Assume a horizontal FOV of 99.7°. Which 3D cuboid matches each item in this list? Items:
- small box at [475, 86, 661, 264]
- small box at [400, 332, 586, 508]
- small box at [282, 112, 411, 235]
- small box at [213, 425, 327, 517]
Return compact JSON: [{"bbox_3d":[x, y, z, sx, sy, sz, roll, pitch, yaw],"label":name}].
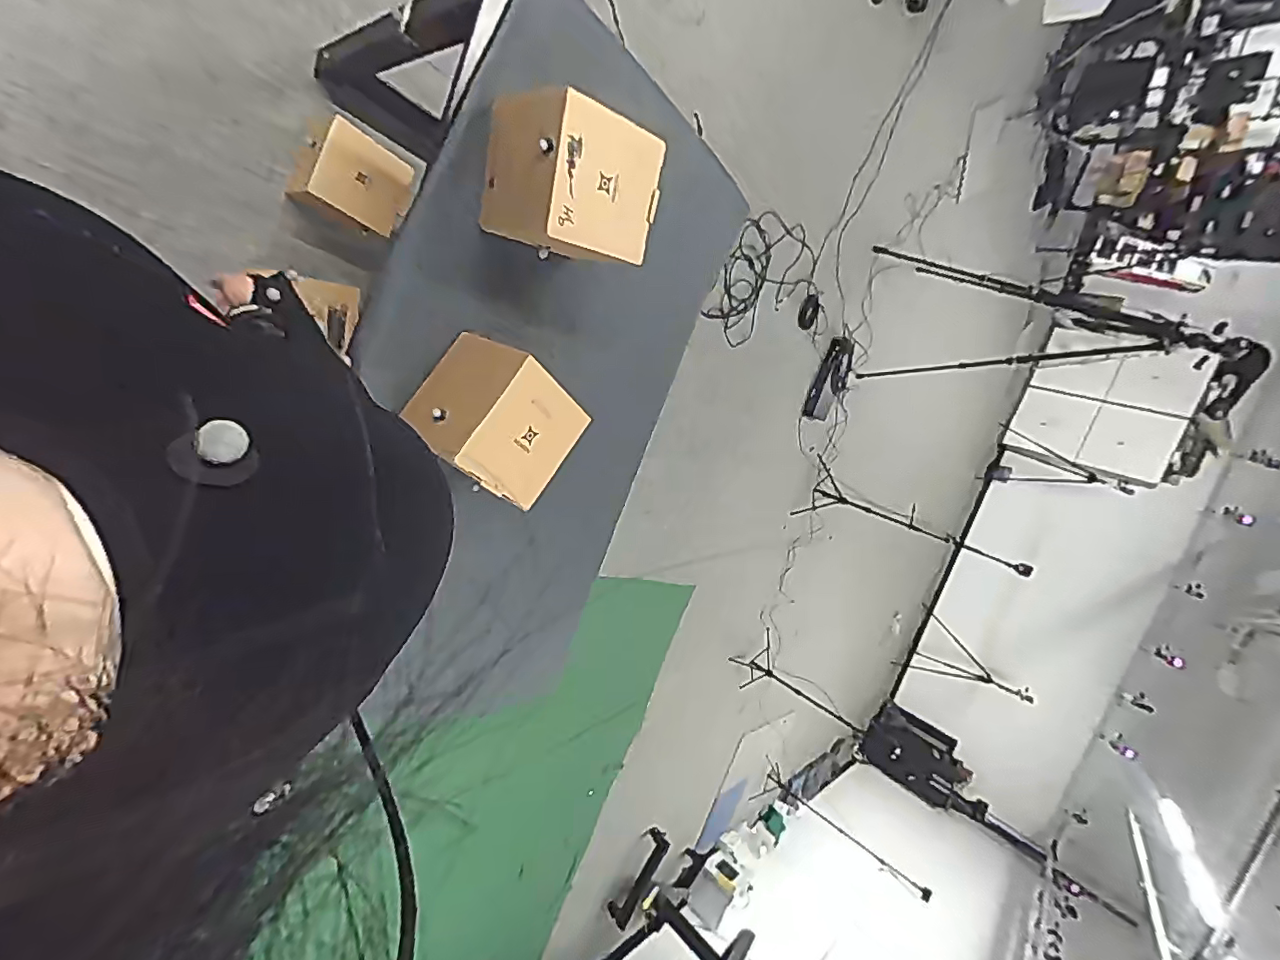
[{"bbox_3d":[-0.102,-0.415,0.758,0.179,0.176,0.168,-5,113,-47],"label":"small box"},{"bbox_3d":[-0.221,-0.090,0.799,0.179,0.176,0.168,-58,144,-11],"label":"small box"},{"bbox_3d":[-0.646,-0.659,1.183,0.179,0.176,0.168,20,94,-52],"label":"small box"},{"bbox_3d":[-0.869,-0.022,1.264,0.179,0.176,0.168,6,105,-50],"label":"small box"}]
